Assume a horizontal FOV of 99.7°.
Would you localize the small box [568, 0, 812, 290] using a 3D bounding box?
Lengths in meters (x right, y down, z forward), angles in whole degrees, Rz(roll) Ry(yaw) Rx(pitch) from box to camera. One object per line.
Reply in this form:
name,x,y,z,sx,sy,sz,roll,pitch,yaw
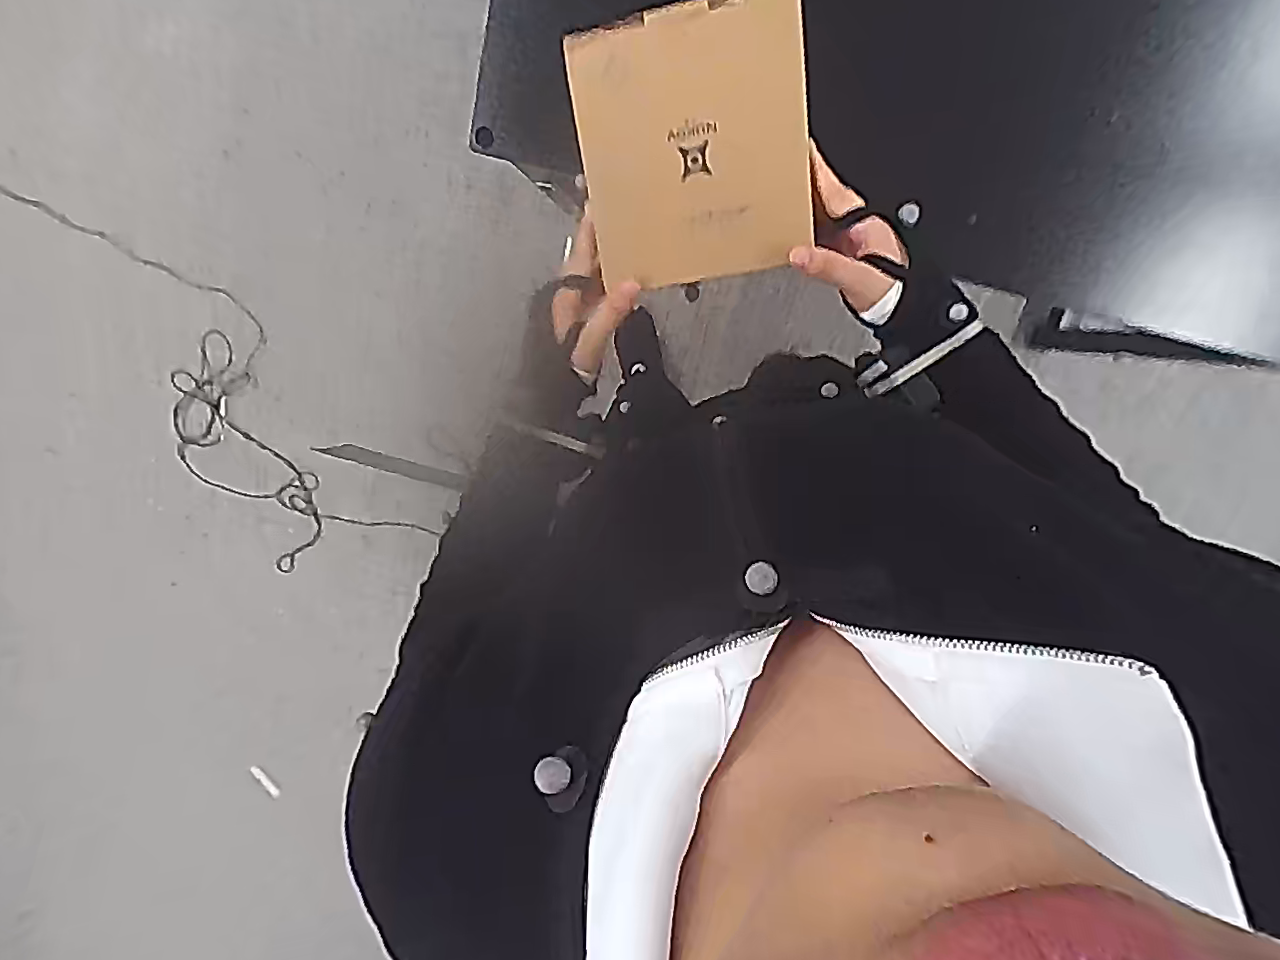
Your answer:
small box,0.045,-0.266,0.468,0.168,0.176,0.179,-6,109,7
